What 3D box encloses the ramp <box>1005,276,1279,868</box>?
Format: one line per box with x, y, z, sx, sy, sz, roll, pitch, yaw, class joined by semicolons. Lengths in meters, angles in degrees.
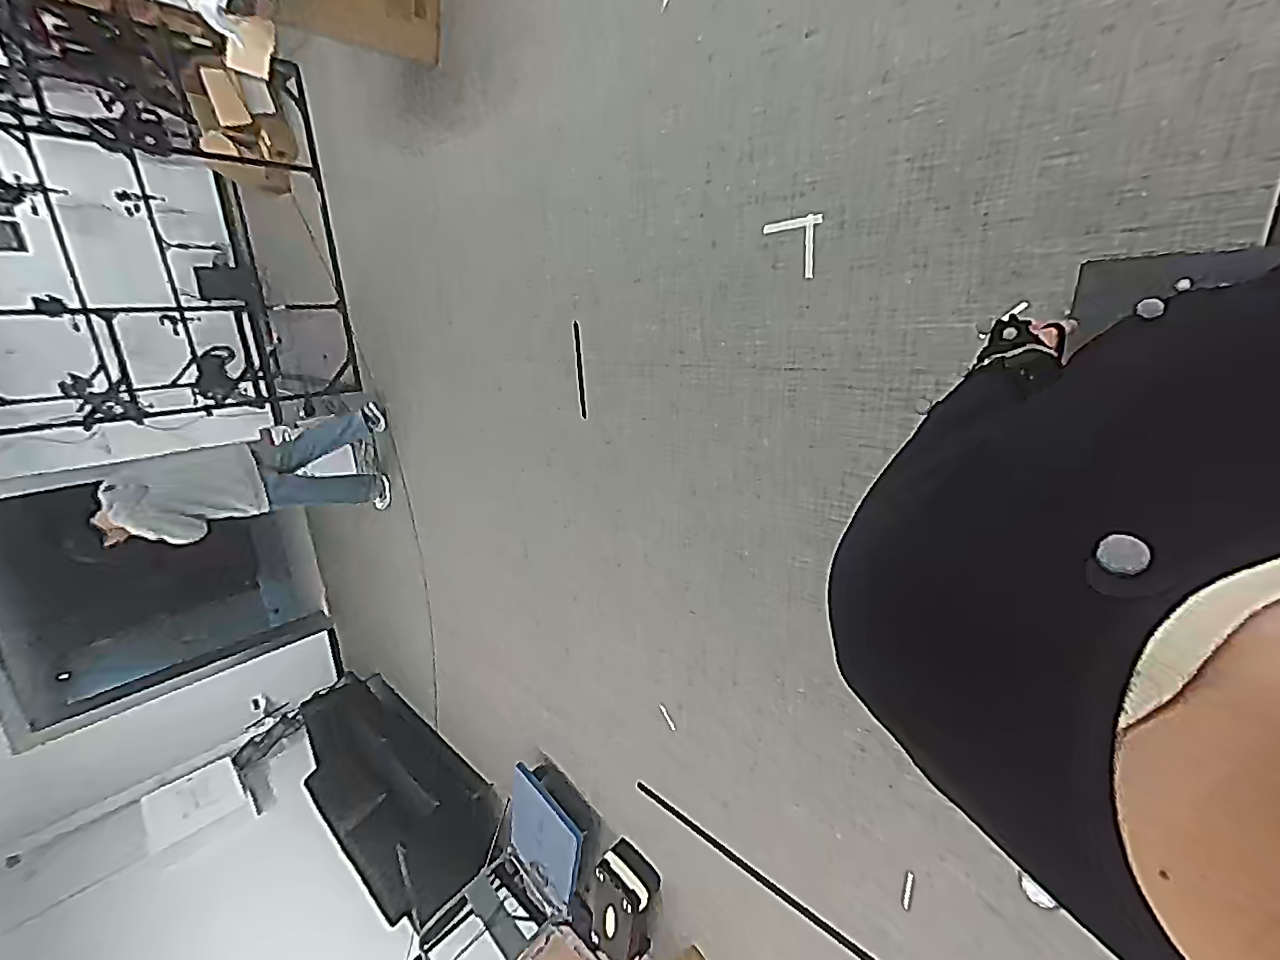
1.032;0.148;0.974;0.509;0.206;0.991;12;110;44;ramp
